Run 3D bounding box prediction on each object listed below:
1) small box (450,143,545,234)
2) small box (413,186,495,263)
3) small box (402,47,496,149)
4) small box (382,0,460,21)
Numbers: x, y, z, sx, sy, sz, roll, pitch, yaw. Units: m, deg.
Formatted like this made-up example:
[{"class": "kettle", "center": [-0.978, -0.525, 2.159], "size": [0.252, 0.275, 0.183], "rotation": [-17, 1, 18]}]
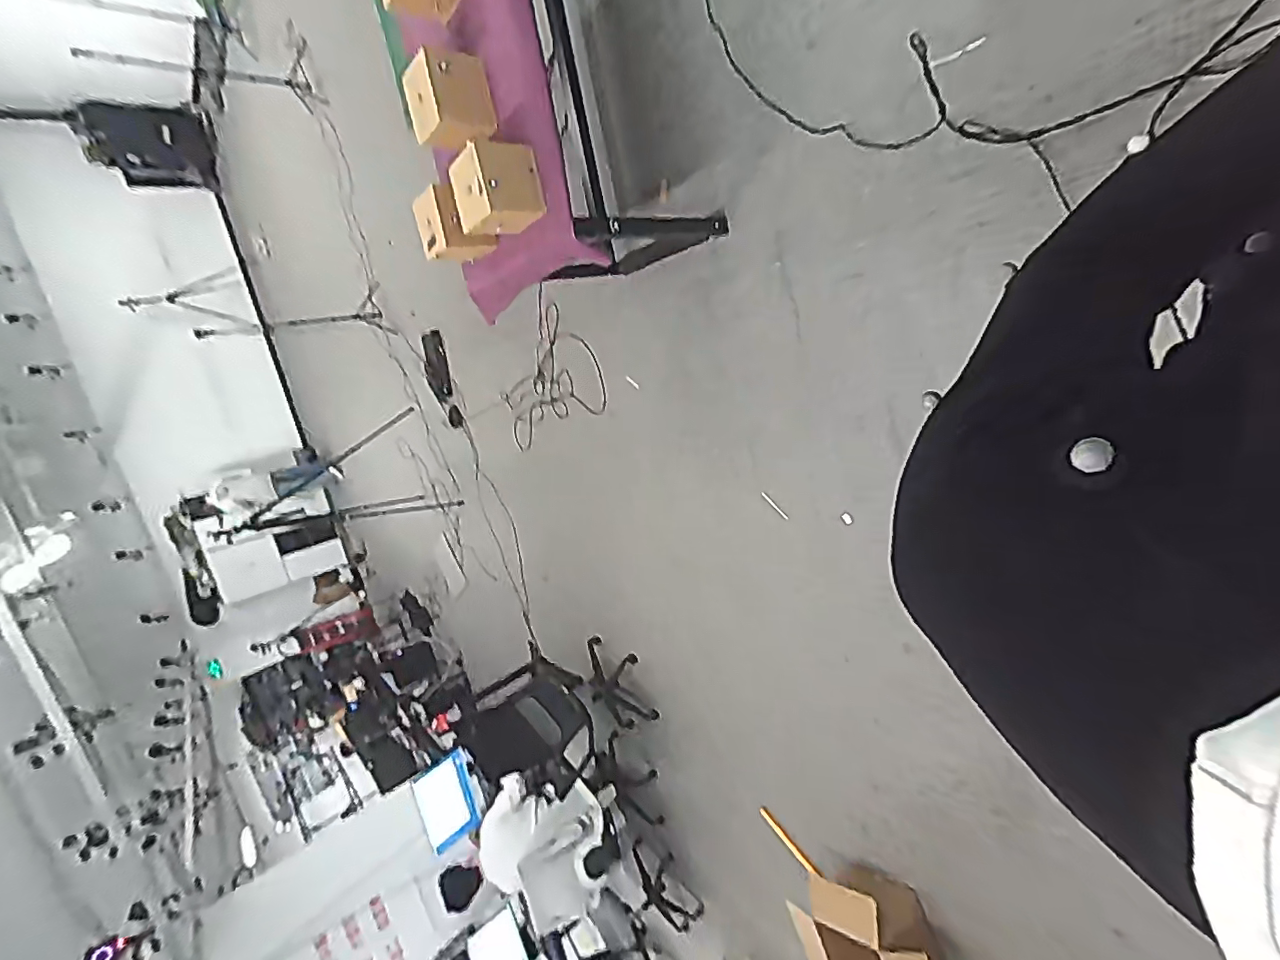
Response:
[{"class": "small box", "center": [-0.377, -0.763, 1.433], "size": [0.179, 0.176, 0.168], "rotation": [2, 109, 51]}, {"class": "small box", "center": [-0.565, -0.778, 1.654], "size": [0.168, 0.176, 0.179], "rotation": [4, 109, 49]}, {"class": "small box", "center": [-0.519, -1.028, 1.478], "size": [0.168, 0.176, 0.179], "rotation": [5, 111, 50]}, {"class": "small box", "center": [-0.576, -1.343, 1.399], "size": [0.168, 0.176, 0.179], "rotation": [5, 112, 49]}]
